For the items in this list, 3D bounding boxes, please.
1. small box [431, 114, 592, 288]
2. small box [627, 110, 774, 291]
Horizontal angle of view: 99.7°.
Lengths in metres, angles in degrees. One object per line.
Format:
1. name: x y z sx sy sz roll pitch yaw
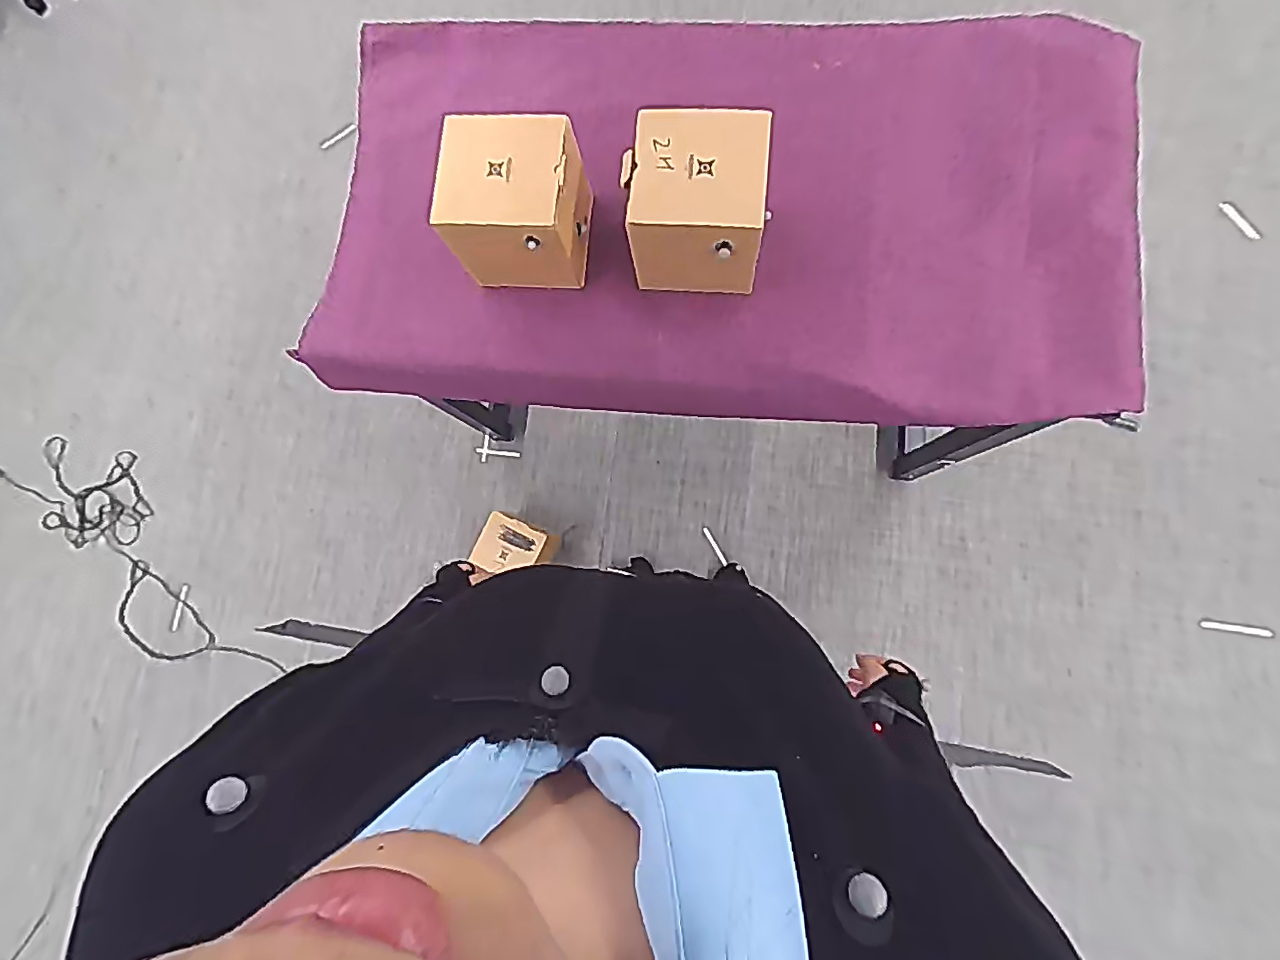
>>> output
1. small box: -0.179 -0.401 0.800 0.179 0.176 0.168 4 82 6
2. small box: 0.086 -0.384 0.767 0.179 0.176 0.168 5 81 7
